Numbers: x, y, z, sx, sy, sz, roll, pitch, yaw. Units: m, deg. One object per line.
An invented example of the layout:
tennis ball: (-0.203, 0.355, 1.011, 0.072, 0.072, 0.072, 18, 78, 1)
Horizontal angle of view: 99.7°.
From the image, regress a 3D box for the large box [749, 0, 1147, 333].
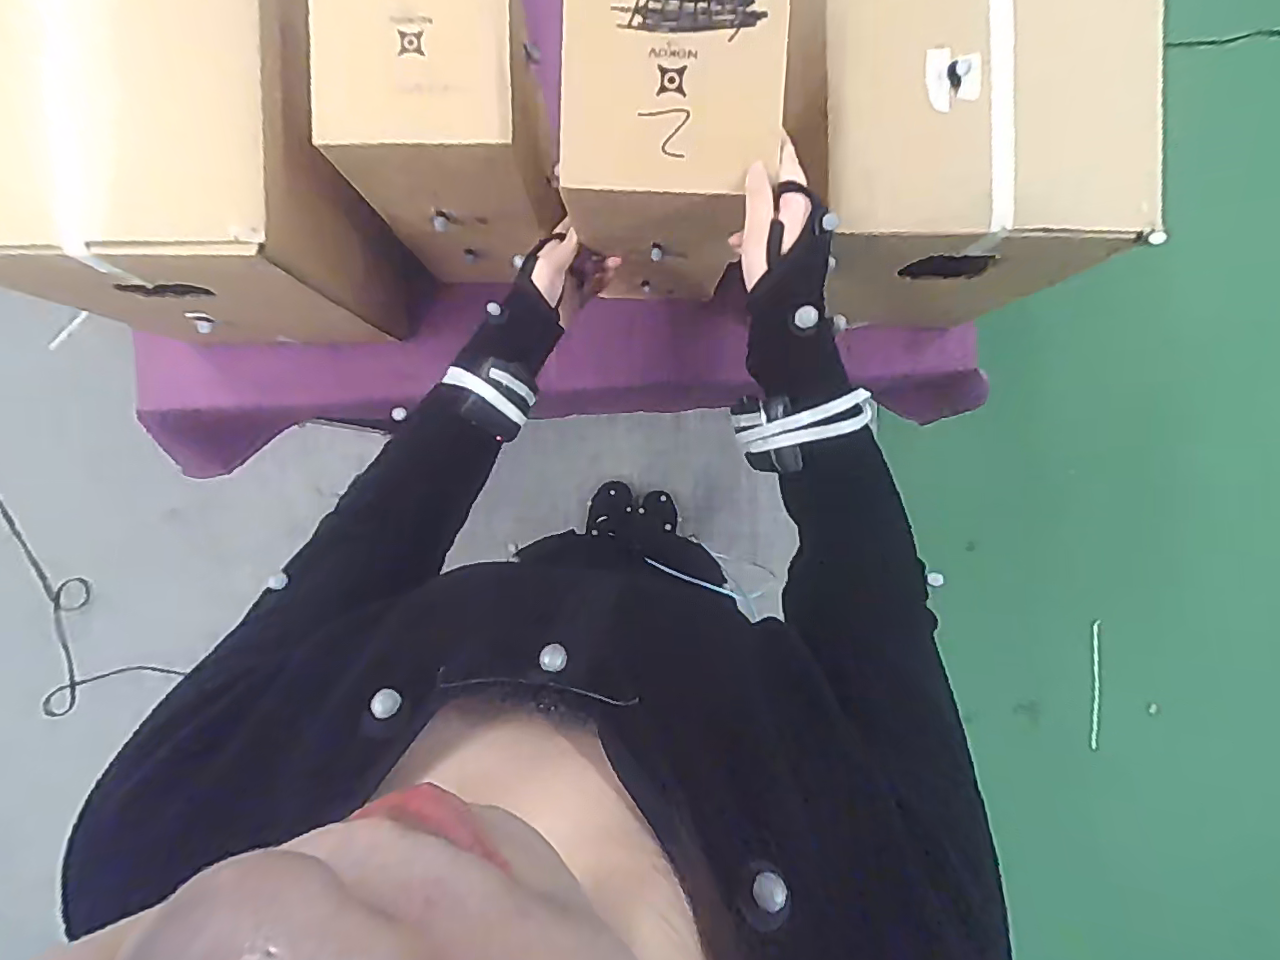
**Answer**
large box: (0.322, -0.419, 0.654, 0.320, 0.320, 0.408, 0, 91, -3)
